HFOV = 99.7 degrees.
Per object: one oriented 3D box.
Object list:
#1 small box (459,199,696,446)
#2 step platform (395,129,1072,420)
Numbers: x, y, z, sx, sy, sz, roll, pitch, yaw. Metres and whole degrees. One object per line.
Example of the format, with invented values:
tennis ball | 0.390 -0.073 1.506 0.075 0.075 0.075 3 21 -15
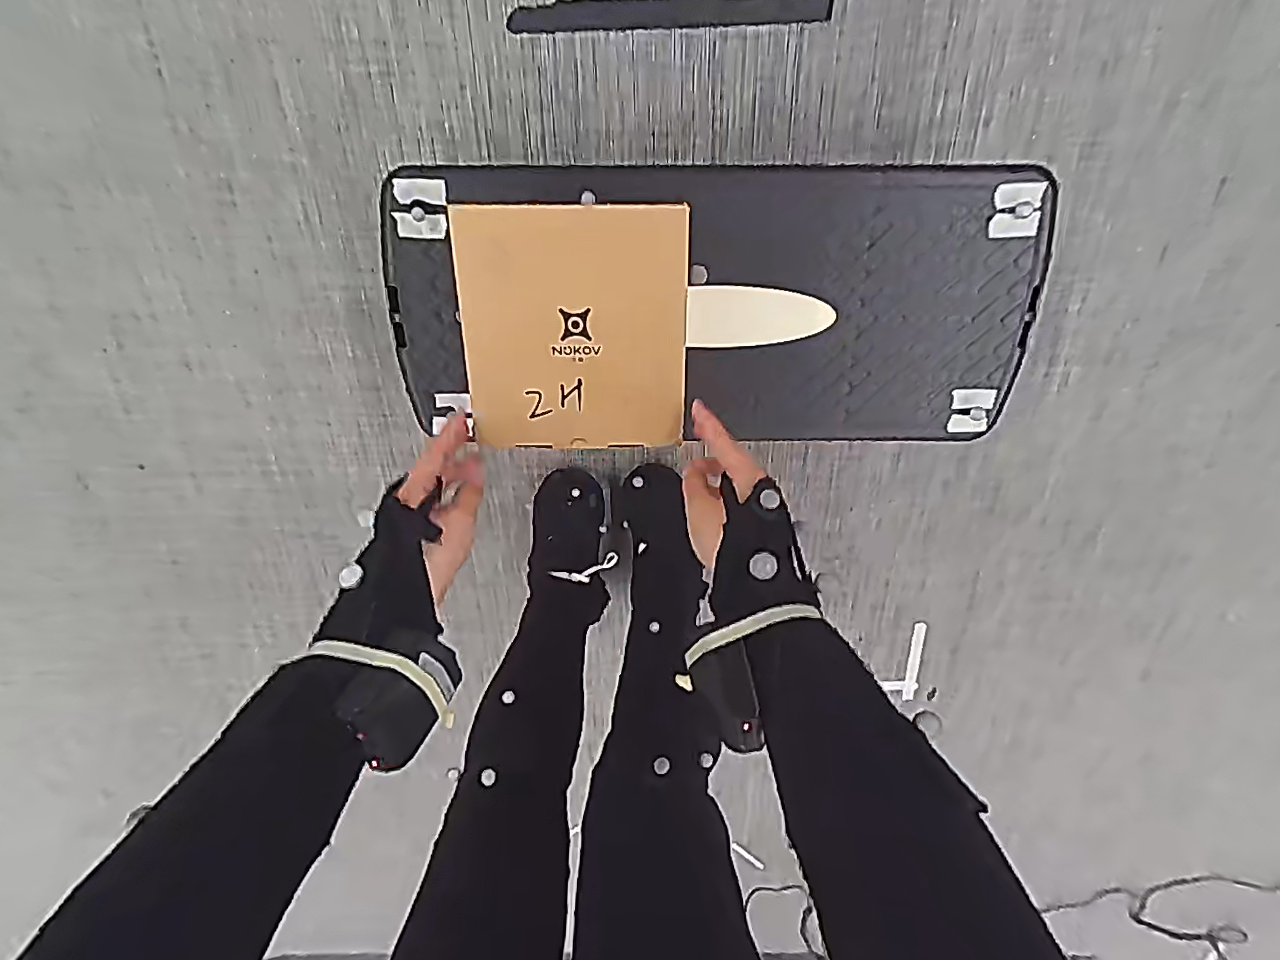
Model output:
small box | -0.045 -0.138 0.473 0.168 0.176 0.179 1 113 0
step platform | 0.089 -0.224 0.626 0.684 0.204 0.286 0 112 1
